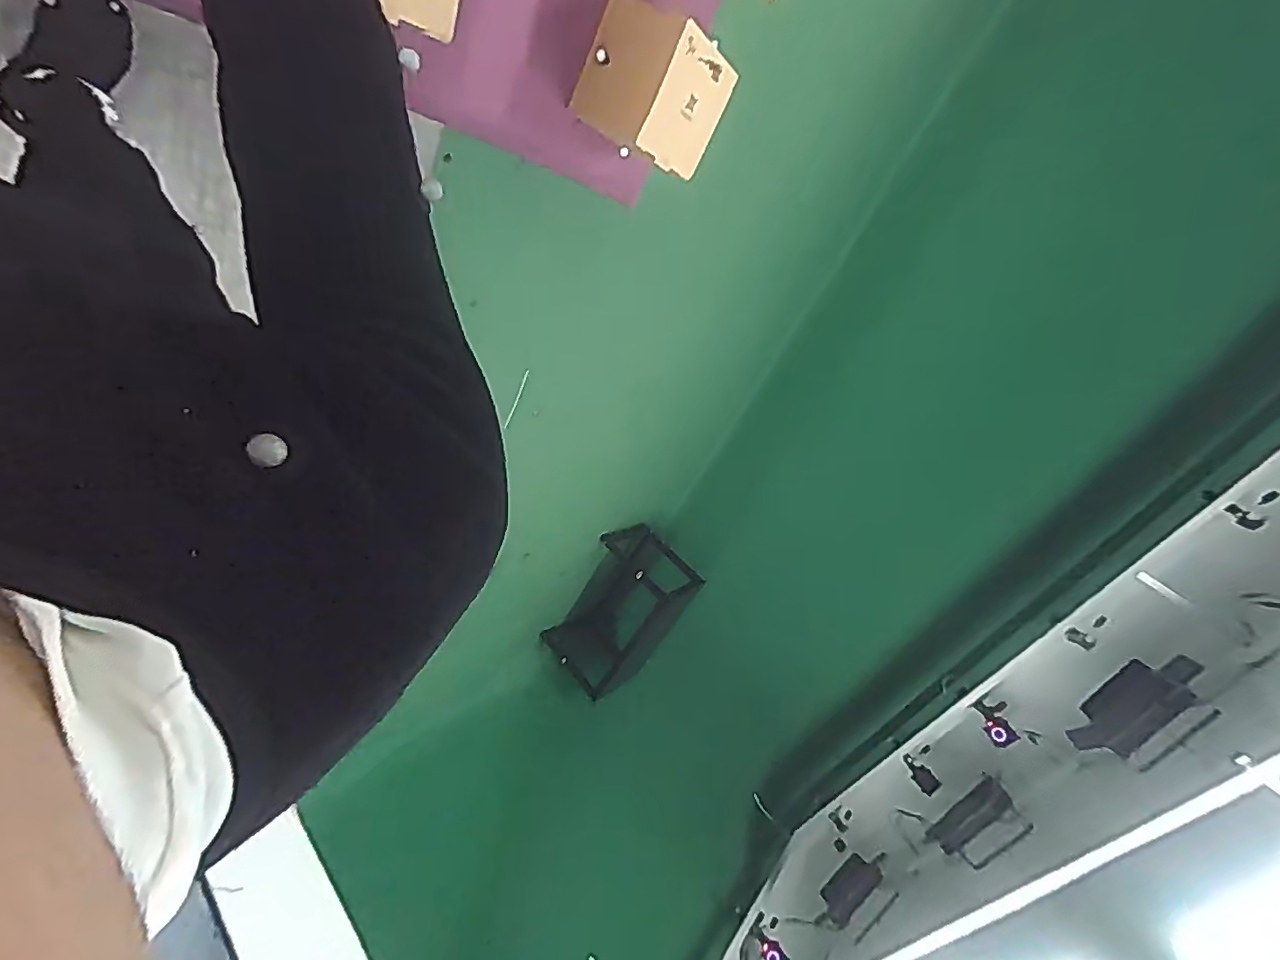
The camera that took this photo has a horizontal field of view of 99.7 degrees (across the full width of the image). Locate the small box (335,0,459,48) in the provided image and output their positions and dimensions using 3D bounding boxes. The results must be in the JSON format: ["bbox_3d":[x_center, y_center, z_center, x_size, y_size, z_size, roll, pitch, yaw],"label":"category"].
[{"bbox_3d":[-0.275,-0.559,0.504,0.168,0.176,0.179,-18,143,-49],"label":"small box"}]

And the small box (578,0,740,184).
[{"bbox_3d":[0.023,-0.633,0.886,0.168,0.176,0.179,-9,136,-55],"label":"small box"}]
